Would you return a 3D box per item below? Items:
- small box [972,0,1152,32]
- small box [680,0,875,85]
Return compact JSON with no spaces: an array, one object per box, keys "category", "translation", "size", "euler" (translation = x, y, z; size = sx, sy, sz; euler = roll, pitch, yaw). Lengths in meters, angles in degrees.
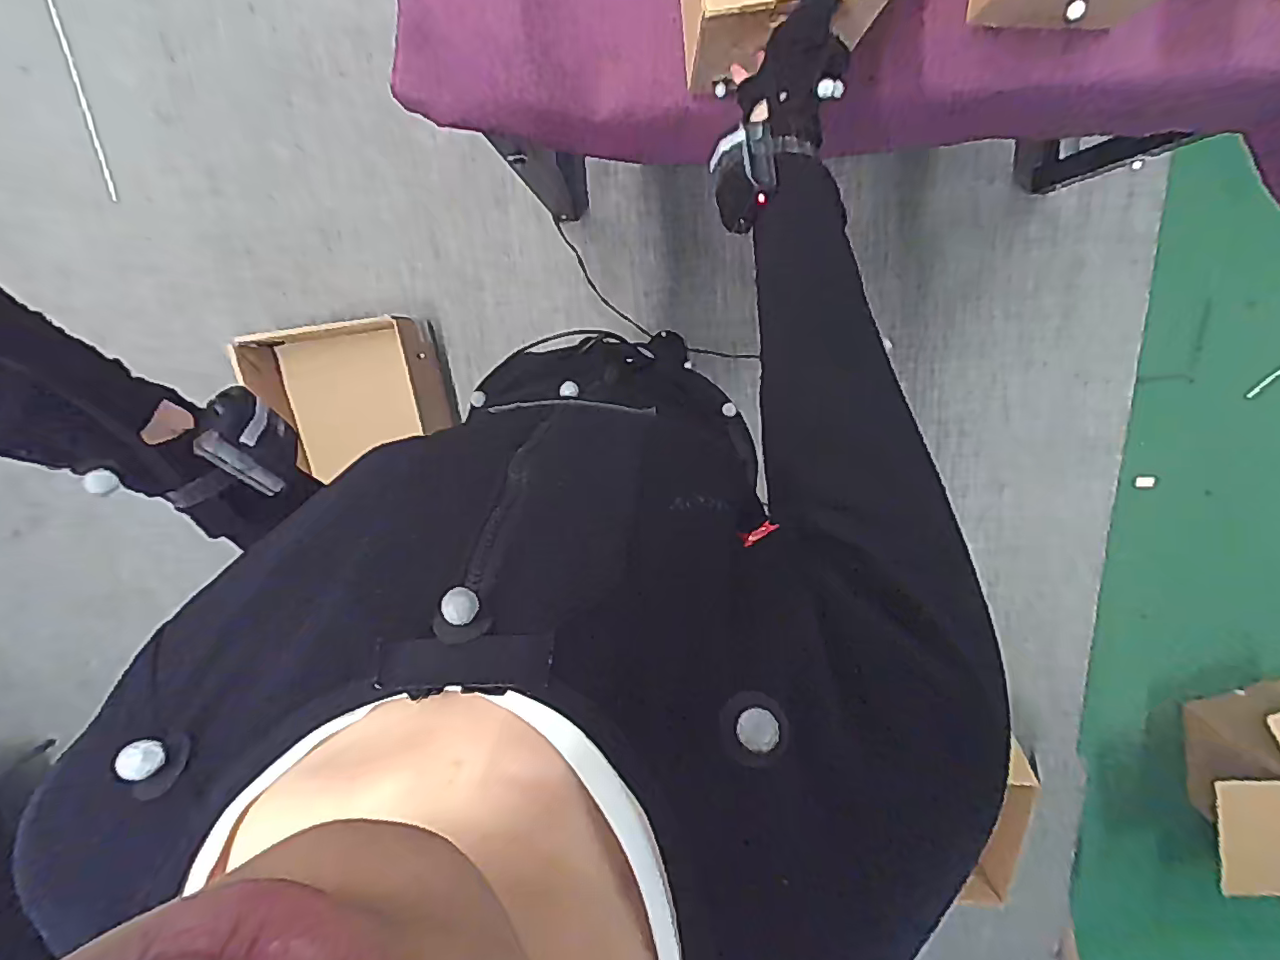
[{"category":"small box","translation":[0.435,-0.555,0.488],"size":[0.168,0.176,0.179],"euler":[2,105,1]},{"category":"small box","translation":[0.125,-0.503,0.506],"size":[0.168,0.176,0.179],"euler":[-6,105,2]}]
